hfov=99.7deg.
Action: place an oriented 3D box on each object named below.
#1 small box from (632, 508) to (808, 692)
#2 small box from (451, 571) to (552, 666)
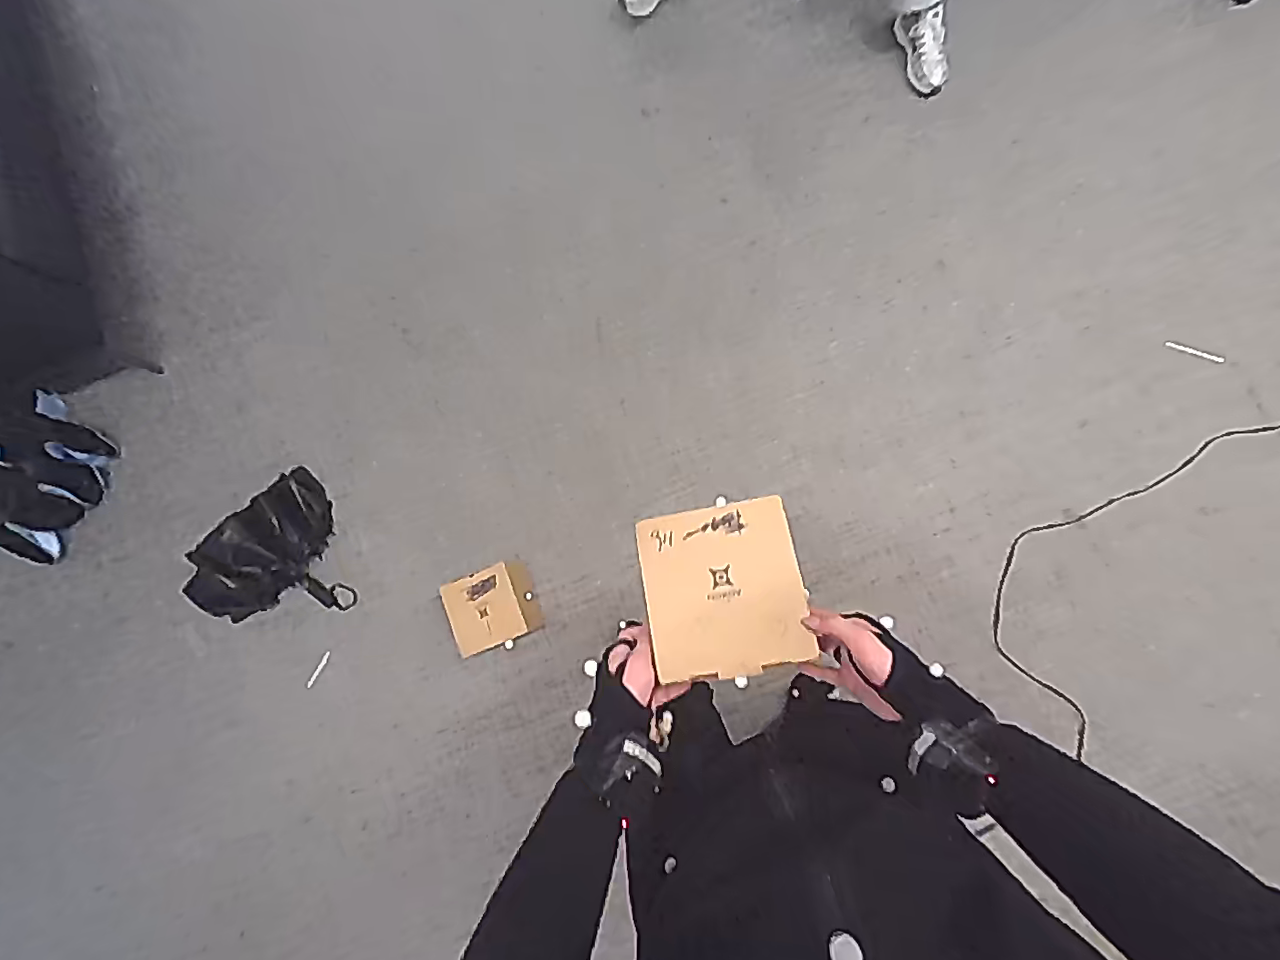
[{"bbox_3d":[0.096,0.150,0.659,0.168,0.176,0.179,-12,70,6],"label":"small box"},{"bbox_3d":[-0.337,0.336,1.337,0.168,0.176,0.179,-23,80,1],"label":"small box"}]
